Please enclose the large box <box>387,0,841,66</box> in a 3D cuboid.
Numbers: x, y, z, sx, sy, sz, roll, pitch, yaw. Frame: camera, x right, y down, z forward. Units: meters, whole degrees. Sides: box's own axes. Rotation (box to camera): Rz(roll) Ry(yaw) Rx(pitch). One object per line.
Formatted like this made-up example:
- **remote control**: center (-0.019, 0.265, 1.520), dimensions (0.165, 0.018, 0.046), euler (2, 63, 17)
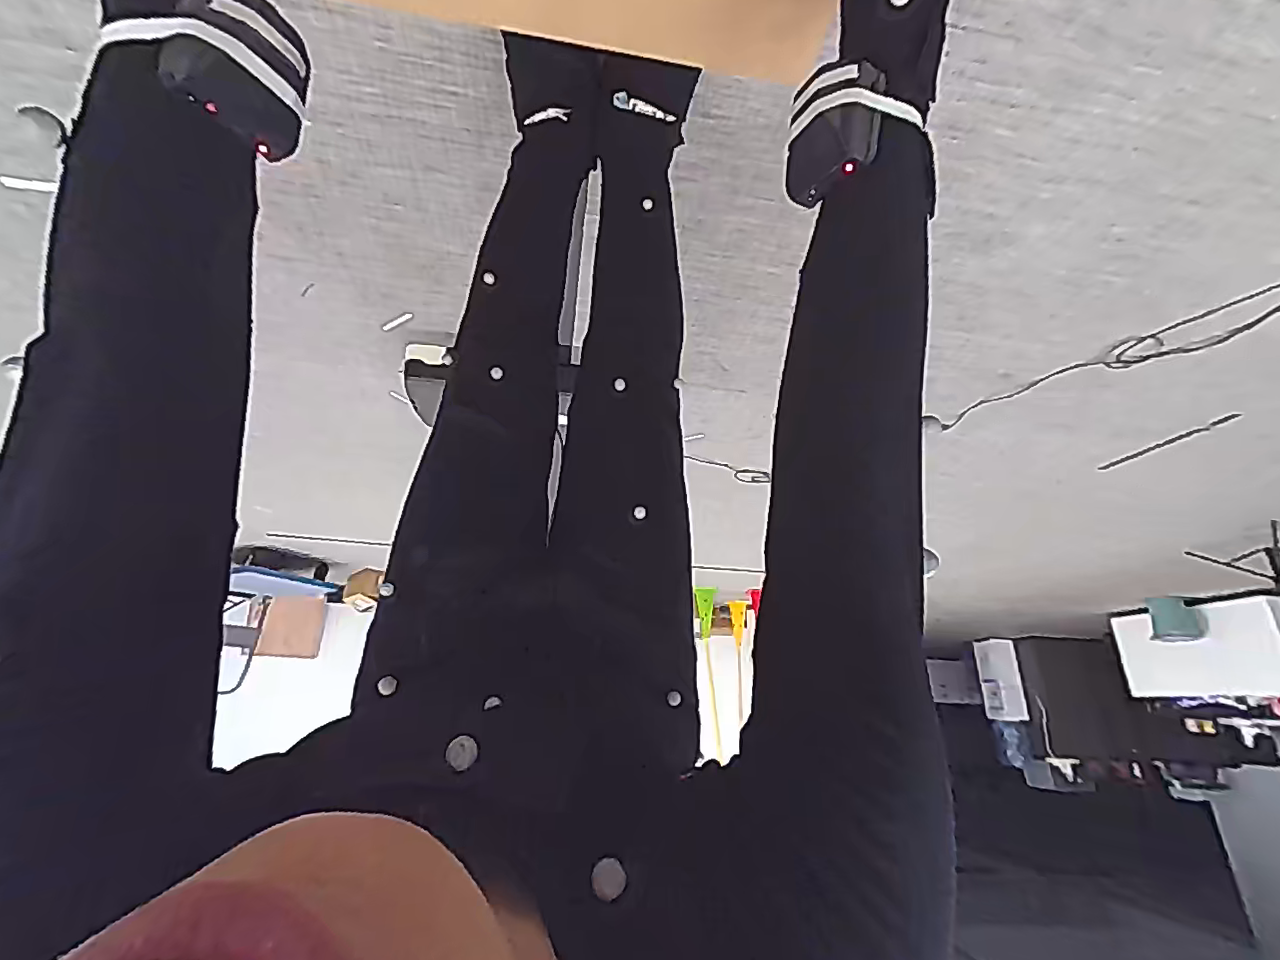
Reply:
- **large box**: center (-0.022, -0.566, 0.365), dimensions (0.408, 0.320, 0.320), euler (5, 159, -7)
